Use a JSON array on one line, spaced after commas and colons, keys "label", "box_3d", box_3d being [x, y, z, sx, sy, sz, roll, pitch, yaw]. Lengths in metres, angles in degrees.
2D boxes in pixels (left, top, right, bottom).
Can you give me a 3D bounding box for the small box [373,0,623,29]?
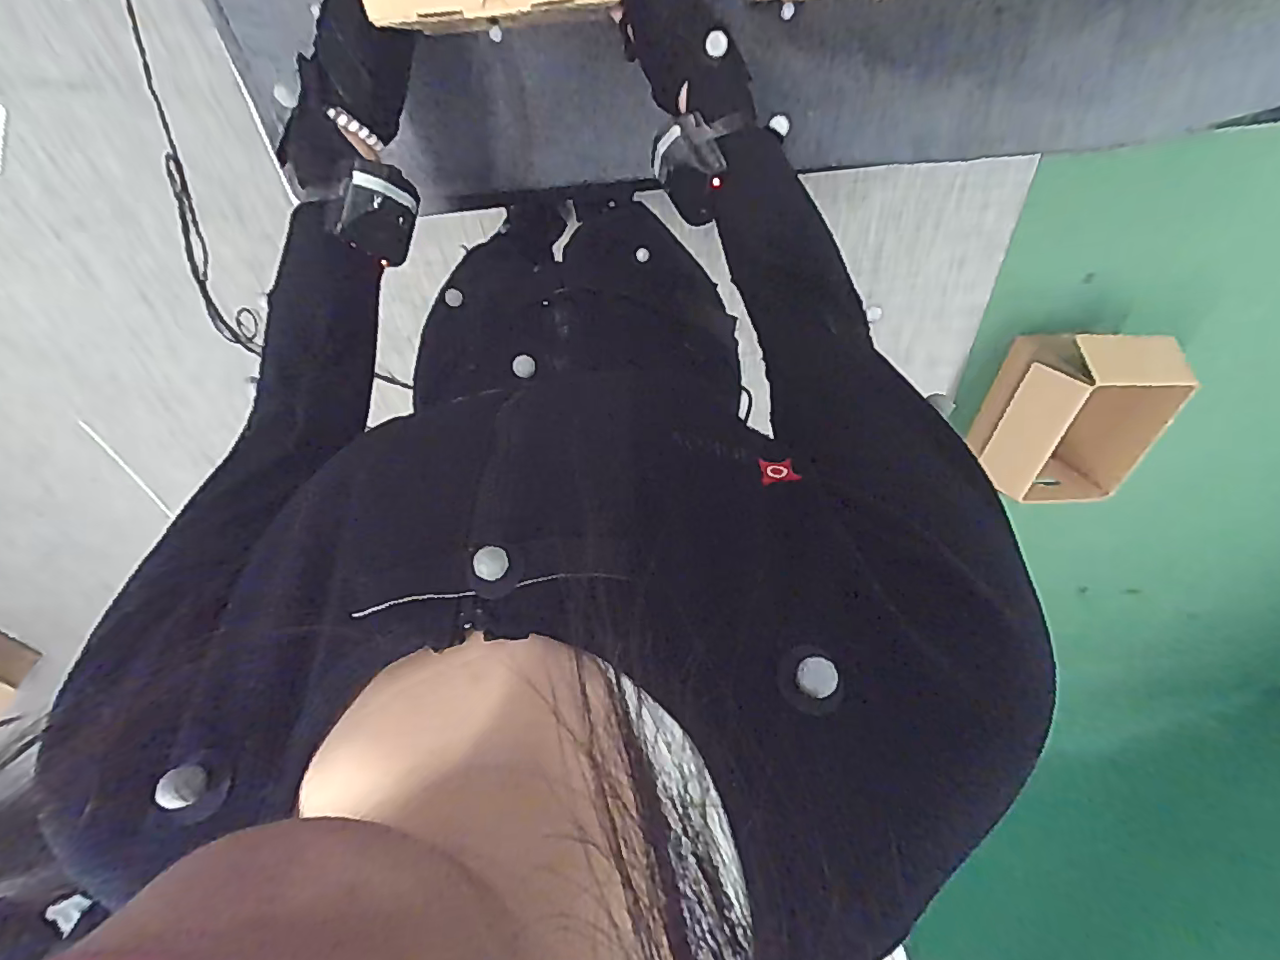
[{"label": "small box", "box_3d": [-0.105, -0.423, 0.360, 0.168, 0.176, 0.179, -8, 130, -3]}]
